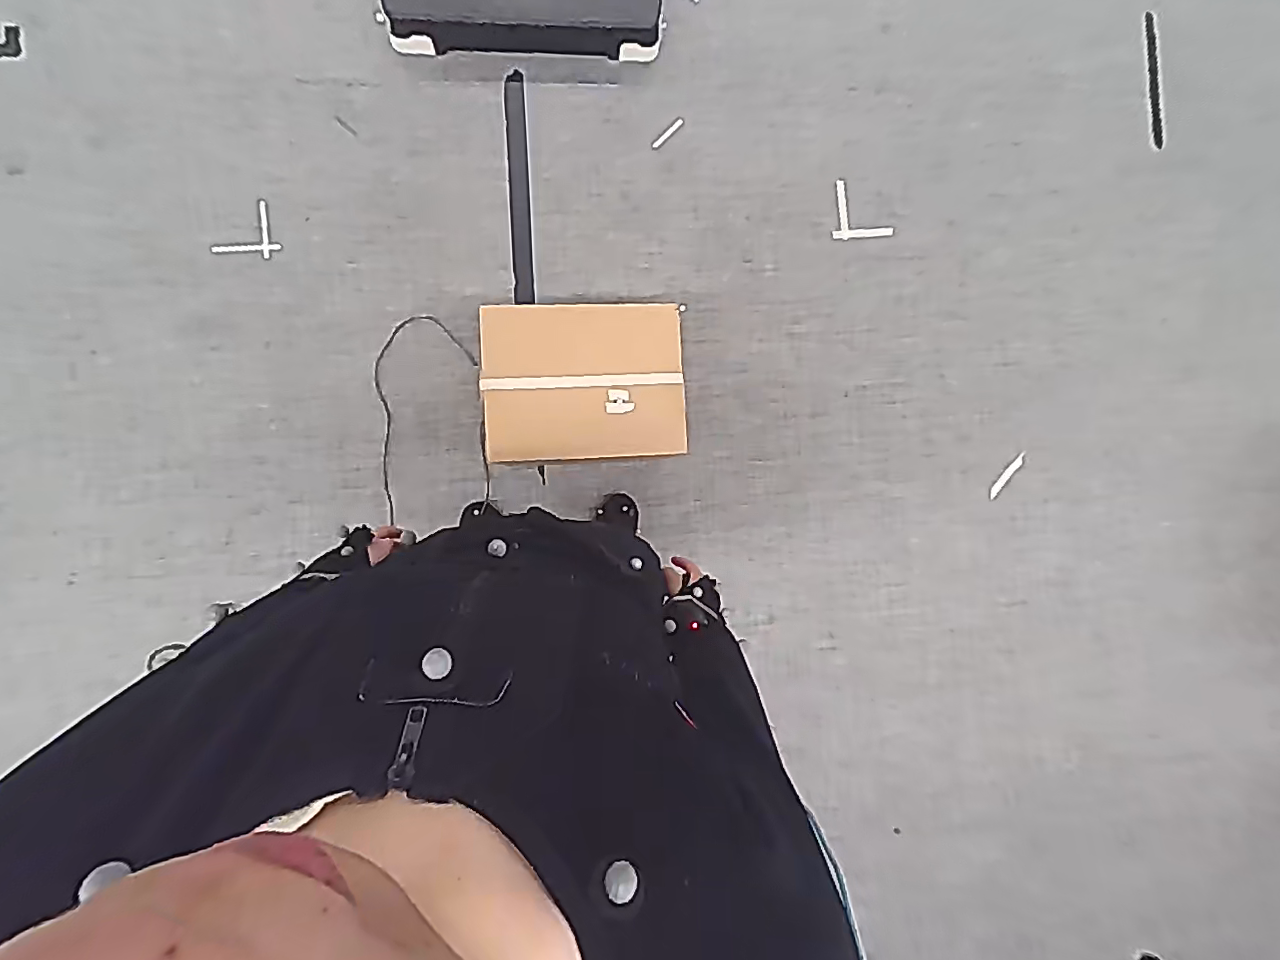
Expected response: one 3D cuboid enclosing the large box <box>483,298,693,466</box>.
[{"bbox_3d":[-0.119,-0.202,1.213,0.408,0.320,0.320,-3,91,-8],"label":"large box"}]
